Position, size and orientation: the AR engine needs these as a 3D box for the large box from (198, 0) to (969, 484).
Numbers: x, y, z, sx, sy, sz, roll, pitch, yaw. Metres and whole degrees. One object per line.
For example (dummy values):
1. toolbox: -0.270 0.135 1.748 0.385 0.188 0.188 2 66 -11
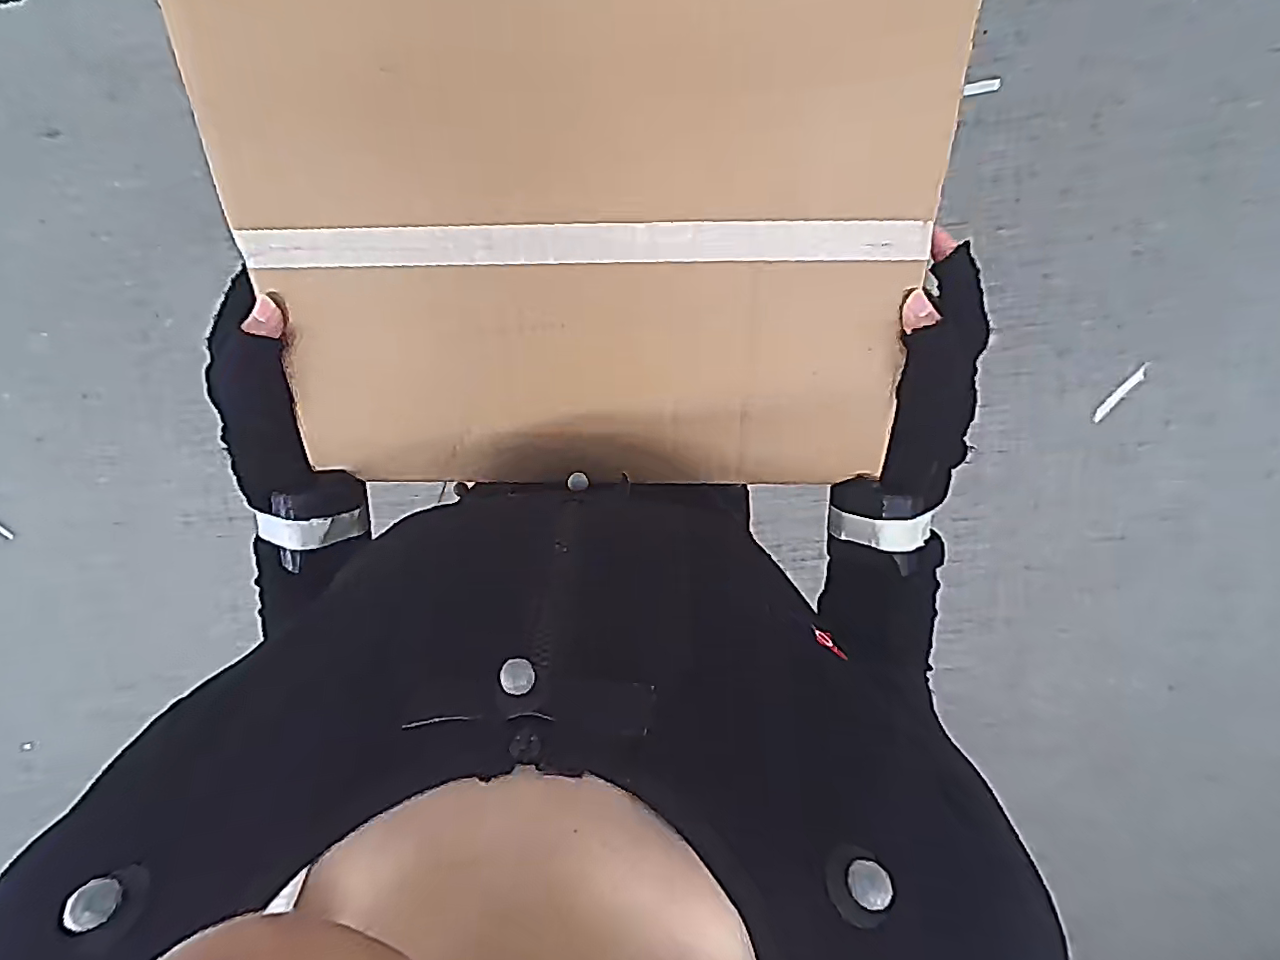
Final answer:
1. large box: -0.028 -0.203 0.465 0.408 0.320 0.320 0 118 1
